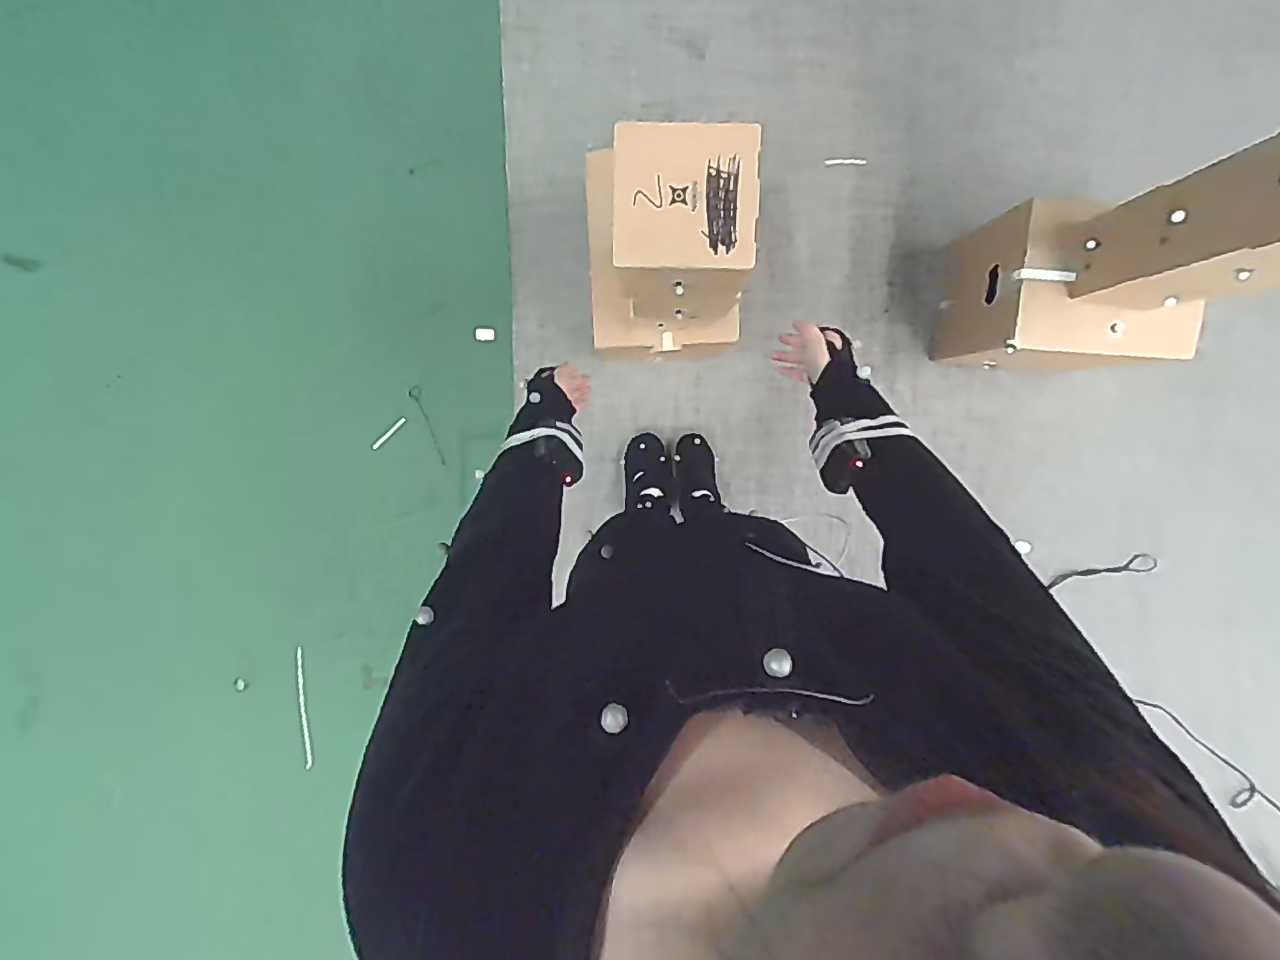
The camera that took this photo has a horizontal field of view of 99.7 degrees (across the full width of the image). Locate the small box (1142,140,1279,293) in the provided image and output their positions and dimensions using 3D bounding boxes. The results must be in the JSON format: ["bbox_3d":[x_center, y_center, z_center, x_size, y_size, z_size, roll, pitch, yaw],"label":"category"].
[{"bbox_3d":[1.001,-0.419,0.889,0.179,0.176,0.168,9,94,-1],"label":"small box"}]

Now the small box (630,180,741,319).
[{"bbox_3d":[0.067,-0.365,0.887,0.168,0.176,0.179,0,96,-1],"label":"small box"}]

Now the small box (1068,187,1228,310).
[{"bbox_3d":[0.997,-0.438,1.052,0.179,0.176,0.168,8,95,-1],"label":"small box"}]

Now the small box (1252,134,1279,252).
[{"bbox_3d":[1.001,-0.407,0.725,0.168,0.176,0.179,8,95,-2],"label":"small box"}]

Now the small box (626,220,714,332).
[{"bbox_3d":[0.059,-0.386,1.050,0.168,0.176,0.179,0,96,0],"label":"small box"}]

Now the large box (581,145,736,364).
[{"bbox_3d":[0.043,-0.501,1.281,0.320,0.320,0.408,-2,96,0],"label":"large box"}]
